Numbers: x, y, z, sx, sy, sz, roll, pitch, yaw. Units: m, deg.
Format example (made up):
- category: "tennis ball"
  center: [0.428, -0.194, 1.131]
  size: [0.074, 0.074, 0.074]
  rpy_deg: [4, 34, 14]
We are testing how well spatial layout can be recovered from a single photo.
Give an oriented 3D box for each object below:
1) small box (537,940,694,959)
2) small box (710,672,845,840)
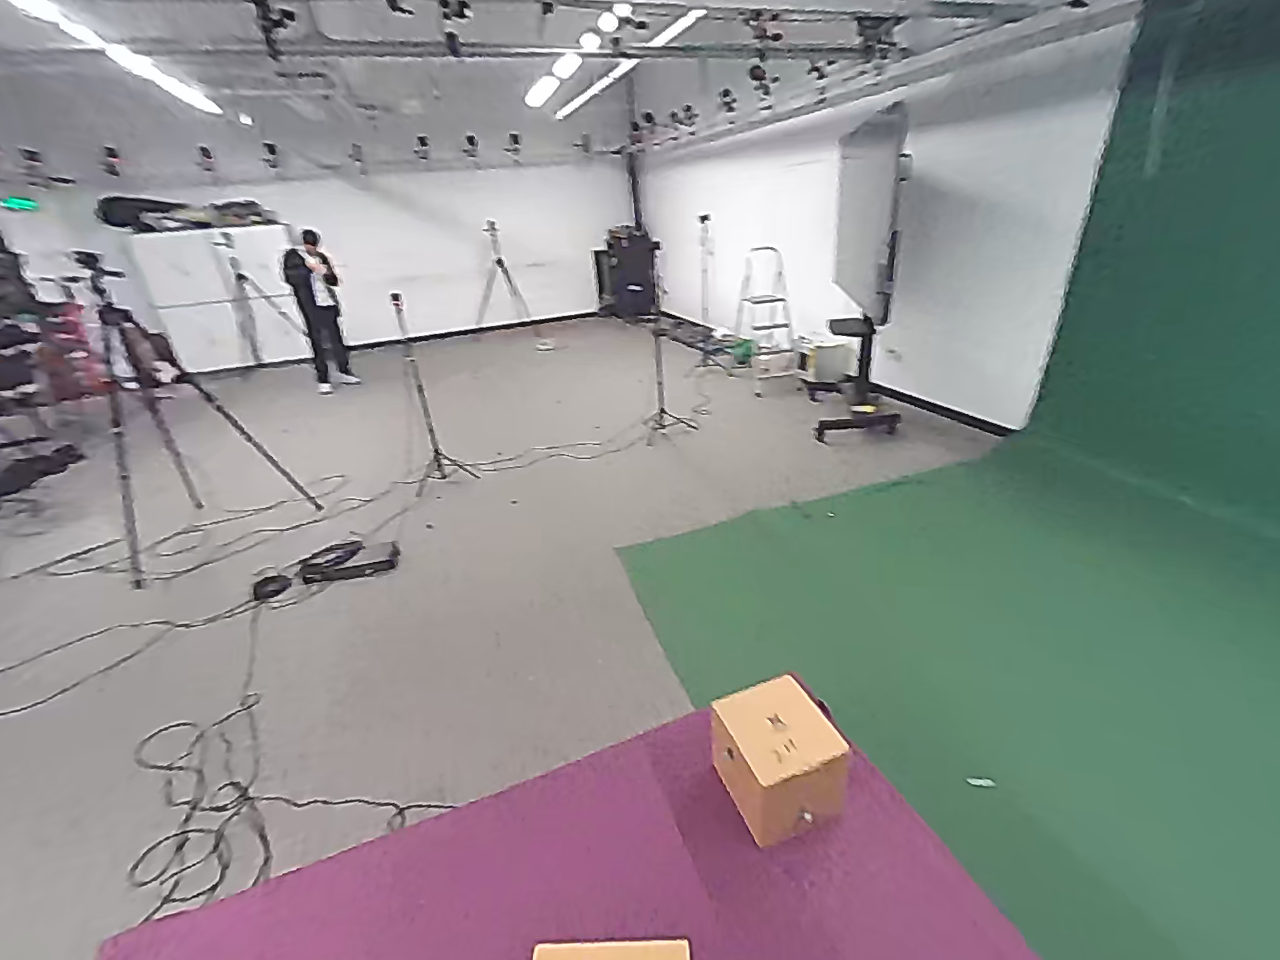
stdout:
- category: "small box"
  center: [-0.025, 0.596, 0.526]
  size: [0.168, 0.176, 0.179]
  rpy_deg: [-2, 25, 2]
- category: "small box"
  center: [0.233, 0.484, 0.960]
  size: [0.168, 0.176, 0.179]
  rpy_deg: [-14, 29, -16]
